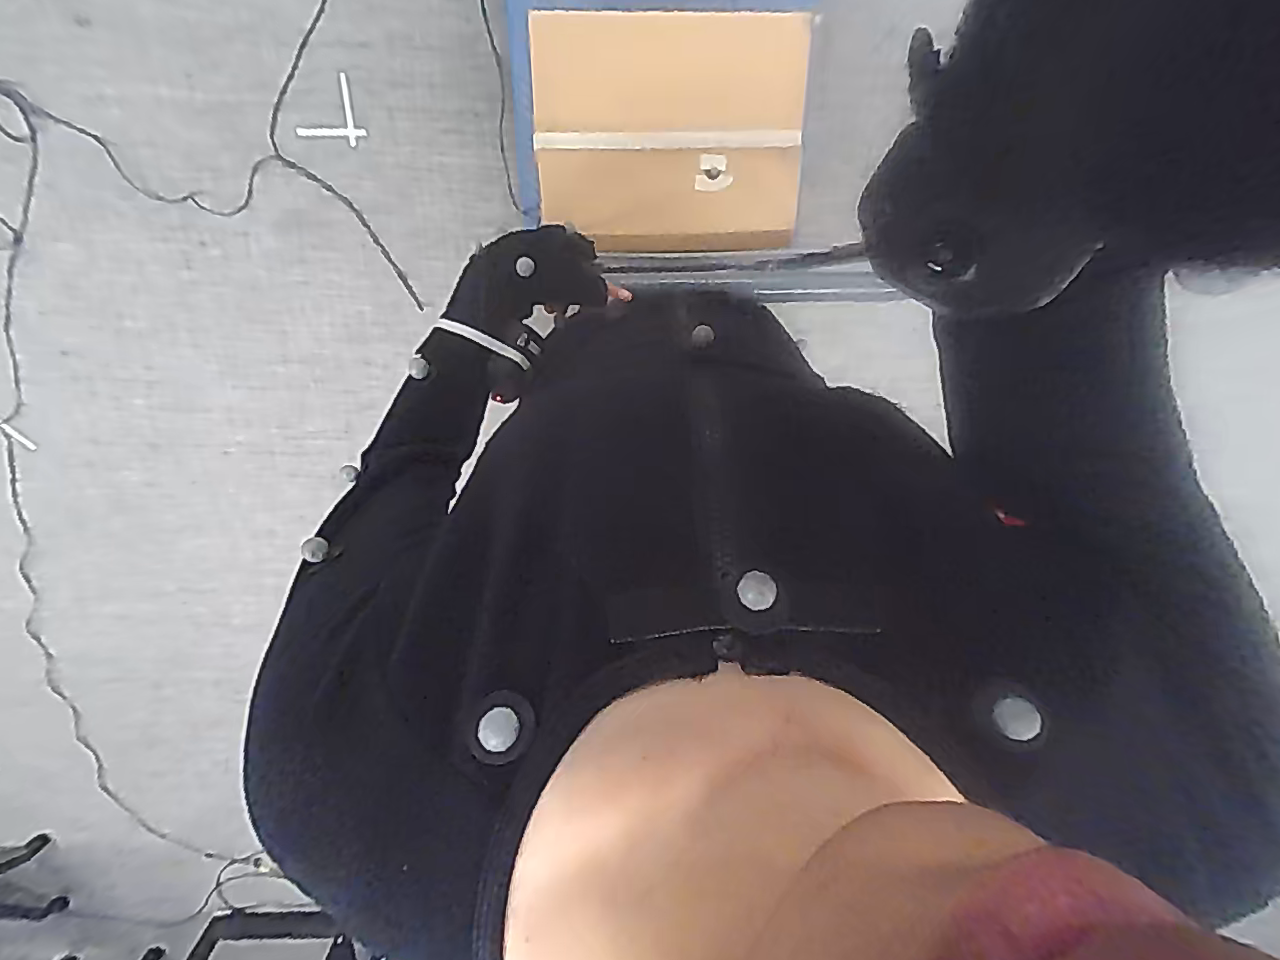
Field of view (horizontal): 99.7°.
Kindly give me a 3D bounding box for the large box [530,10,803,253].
[{"bbox_3d":[0.034,-0.586,0.972,0.408,0.320,0.320,-2,113,-3],"label":"large box"}]
